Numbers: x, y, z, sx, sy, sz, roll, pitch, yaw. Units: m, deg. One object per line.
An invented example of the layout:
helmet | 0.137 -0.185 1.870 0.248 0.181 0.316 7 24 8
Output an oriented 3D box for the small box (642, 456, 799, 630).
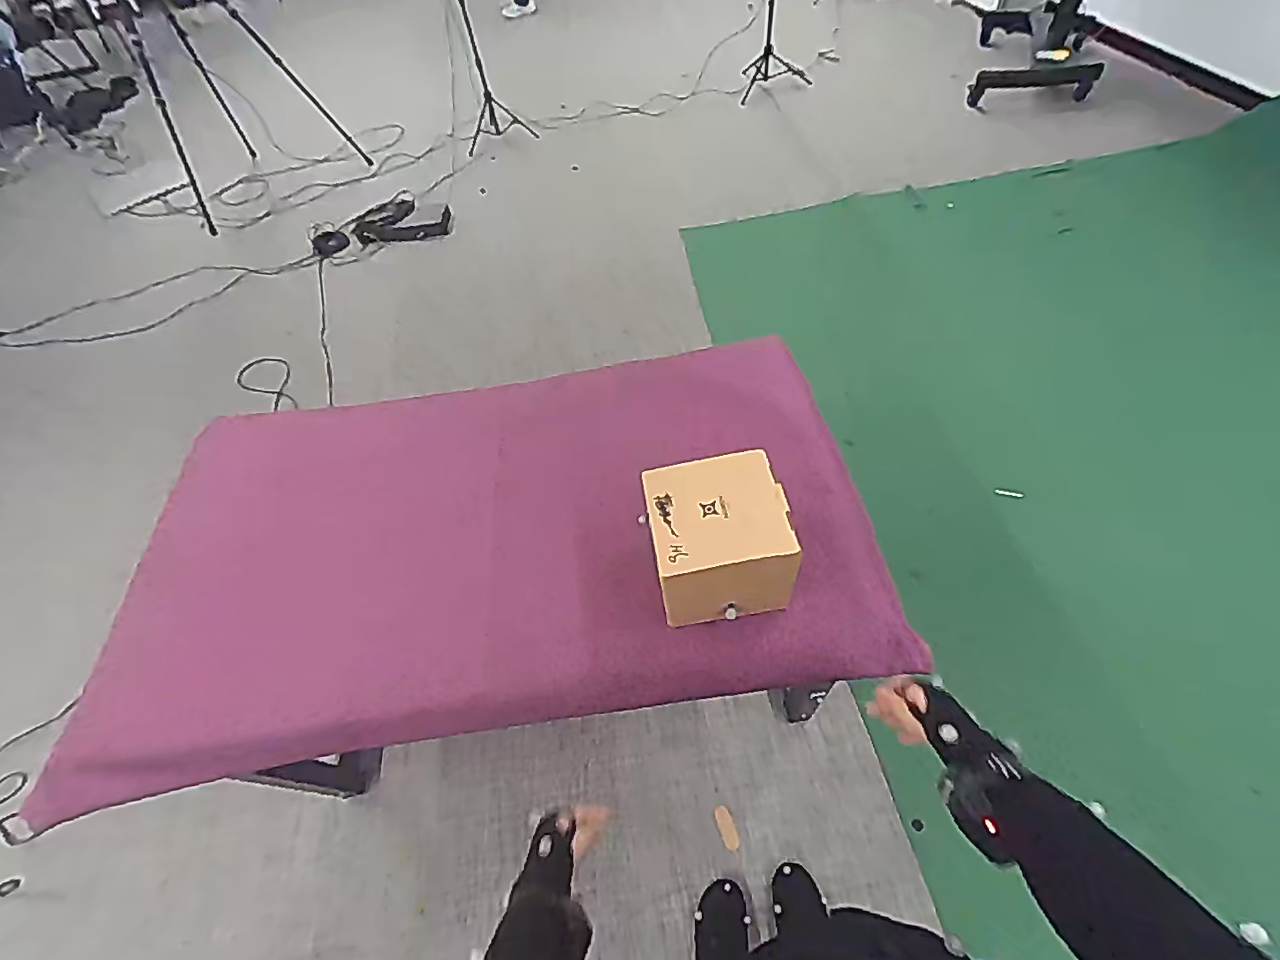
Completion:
small box | 0.104 0.092 0.757 0.179 0.176 0.168 -10 51 1
